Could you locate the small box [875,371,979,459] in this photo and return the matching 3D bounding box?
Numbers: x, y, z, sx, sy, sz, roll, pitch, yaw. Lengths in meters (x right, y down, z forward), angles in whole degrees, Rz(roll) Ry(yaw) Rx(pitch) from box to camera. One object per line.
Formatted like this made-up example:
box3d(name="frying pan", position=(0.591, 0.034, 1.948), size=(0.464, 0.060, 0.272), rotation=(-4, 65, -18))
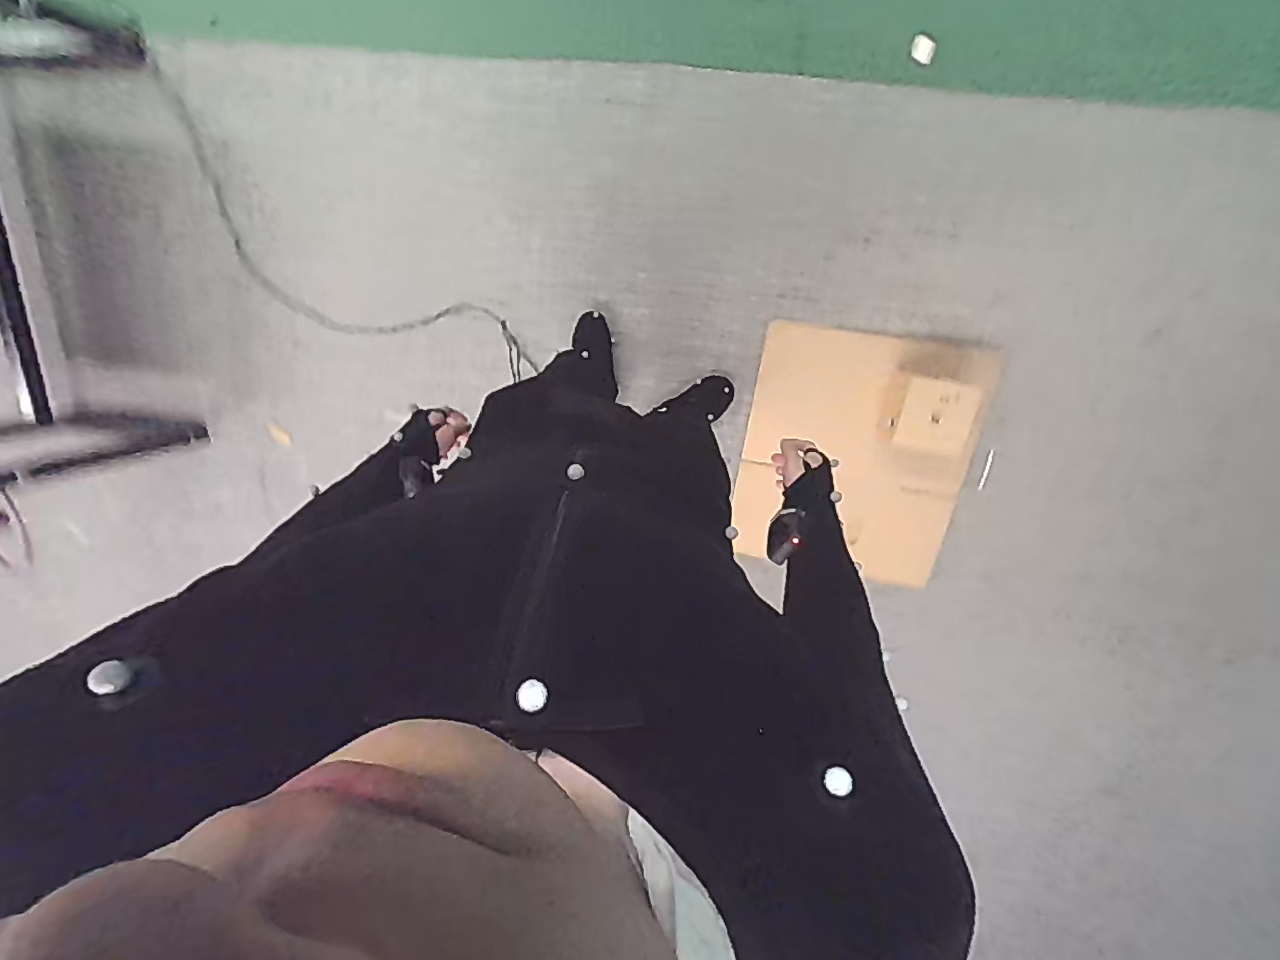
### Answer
box3d(name="small box", position=(0.721, -0.172, 1.385), size=(0.168, 0.176, 0.179), rotation=(12, 109, 5))
